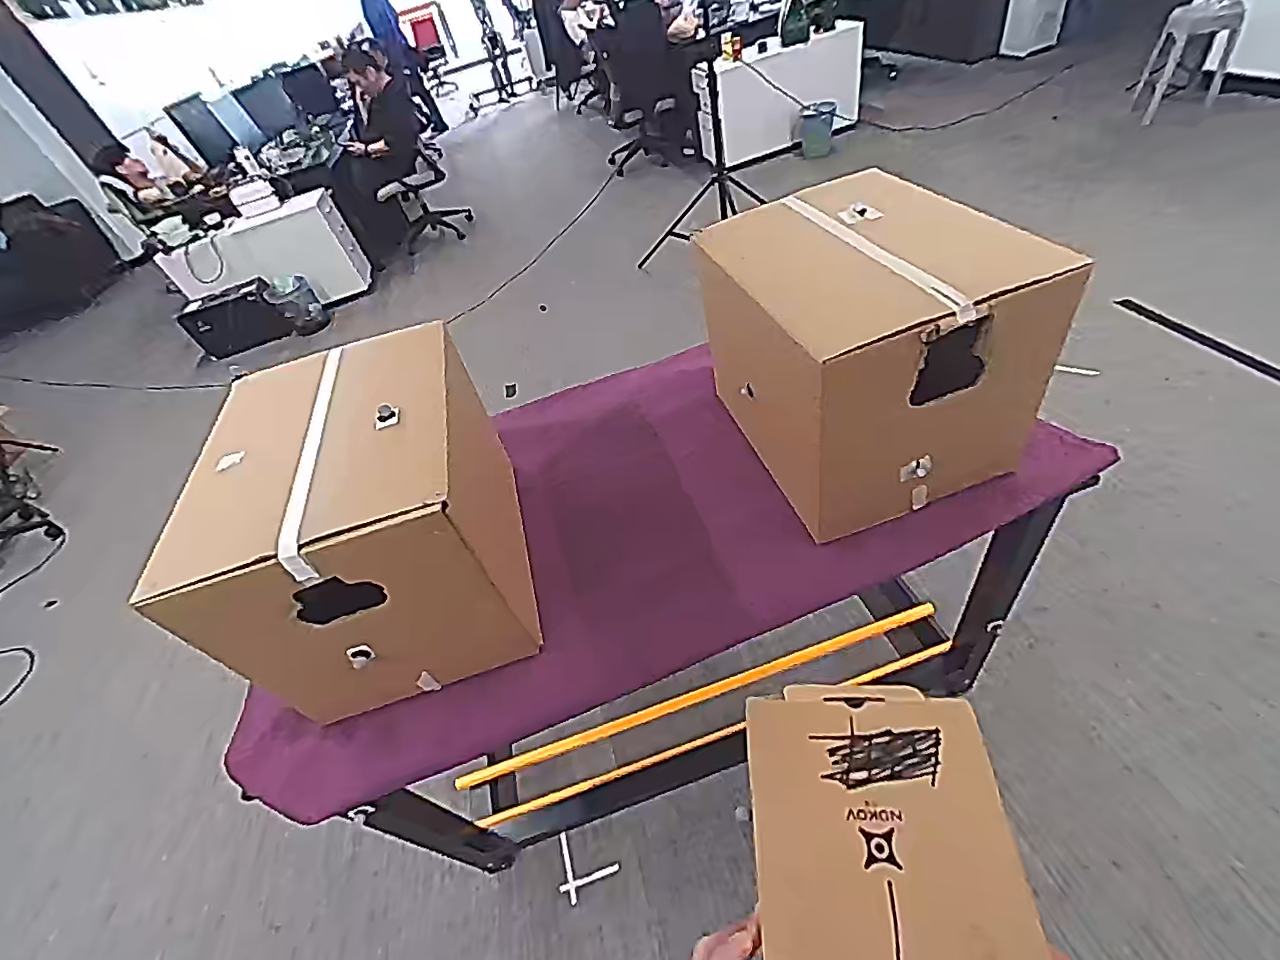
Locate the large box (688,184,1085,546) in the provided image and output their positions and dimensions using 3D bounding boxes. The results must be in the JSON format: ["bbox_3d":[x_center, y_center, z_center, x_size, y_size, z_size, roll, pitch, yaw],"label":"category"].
[{"bbox_3d":[0.305,-0.182,0.797,0.320,0.320,0.408,-20,43,-3],"label":"large box"}]

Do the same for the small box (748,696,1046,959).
[{"bbox_3d":[0.172,0.285,0.423,0.168,0.176,0.179,-4,52,10],"label":"small box"}]
